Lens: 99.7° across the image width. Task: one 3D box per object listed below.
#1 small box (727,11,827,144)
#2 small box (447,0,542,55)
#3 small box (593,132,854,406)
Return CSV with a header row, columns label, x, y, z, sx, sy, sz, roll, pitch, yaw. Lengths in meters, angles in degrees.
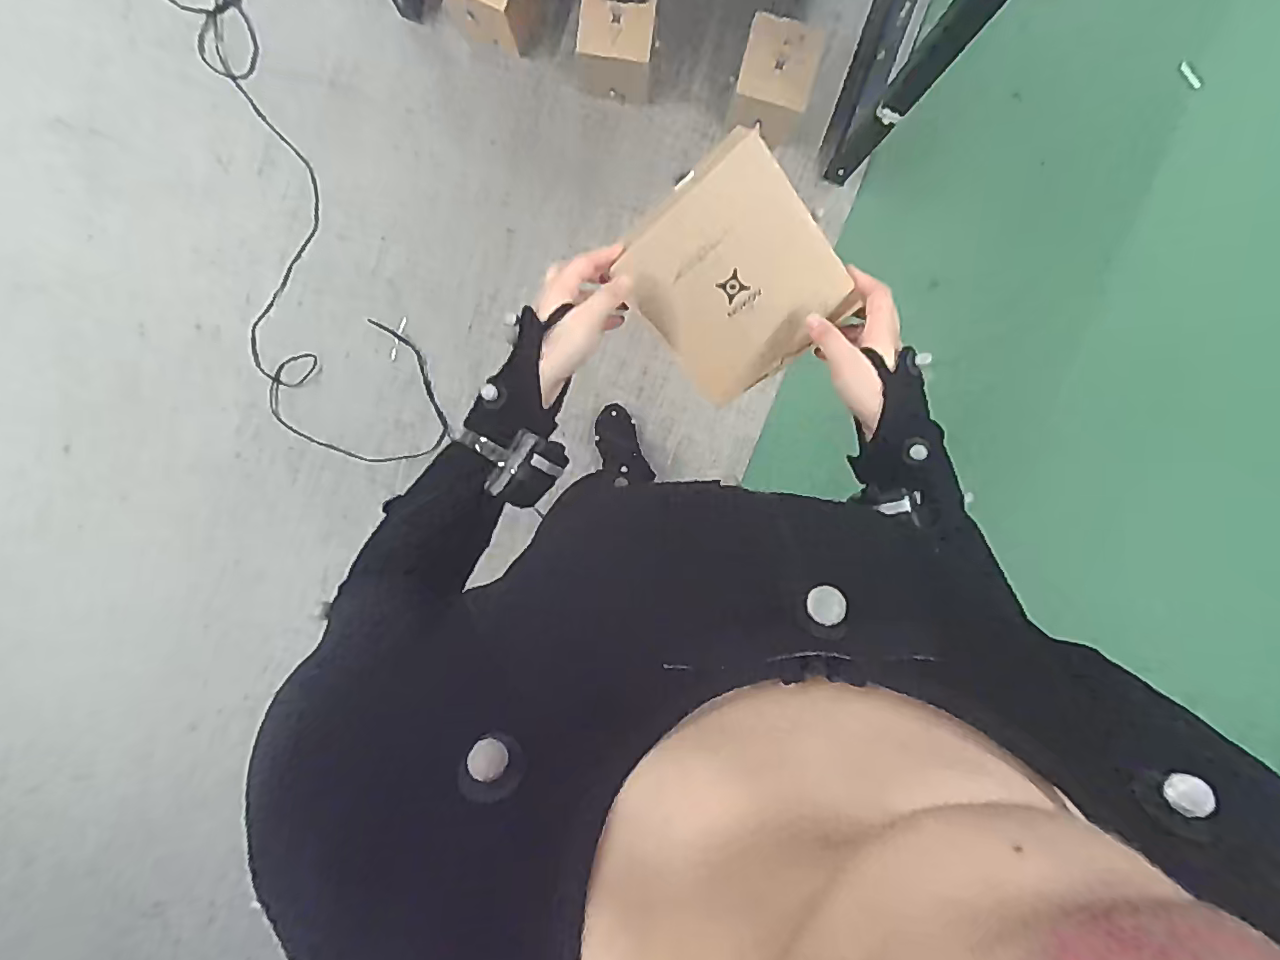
label,x,y,z,sx,sy,sz,roll,pitch,yaw
small box,0.310,-0.932,1.271,0.168,0.176,0.179,15,97,-3
small box,-0.336,-1.140,1.243,0.168,0.176,0.179,24,96,-3
small box,0.079,-0.214,0.538,0.168,0.176,0.179,-35,115,24
